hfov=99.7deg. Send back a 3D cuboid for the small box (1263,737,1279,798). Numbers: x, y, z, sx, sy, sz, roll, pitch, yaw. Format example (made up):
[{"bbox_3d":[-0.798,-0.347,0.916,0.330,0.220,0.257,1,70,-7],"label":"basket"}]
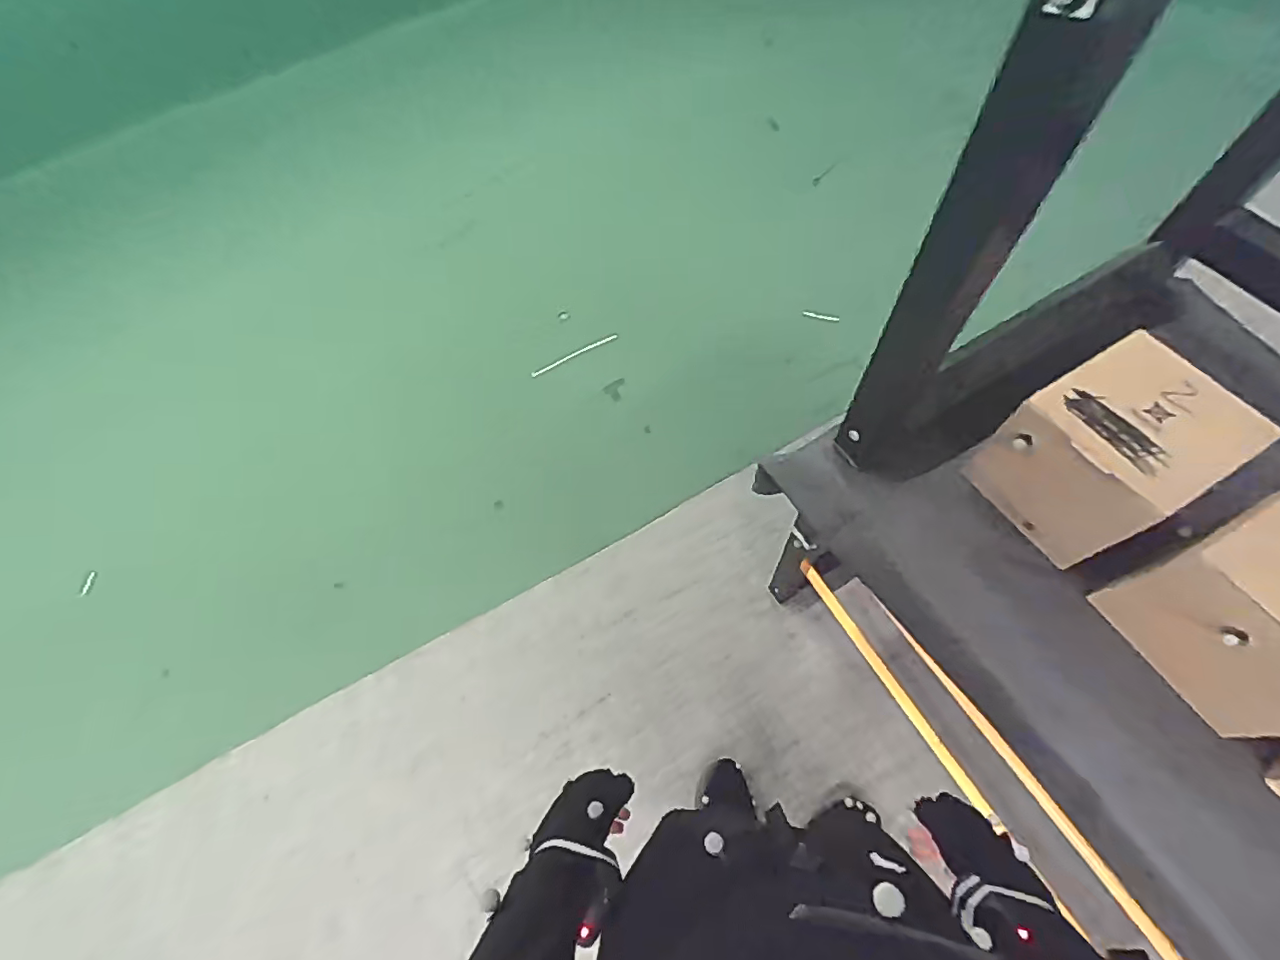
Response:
[{"bbox_3d":[0.744,0.278,0.476,0.179,0.176,0.168,-35,66,-10],"label":"small box"}]
